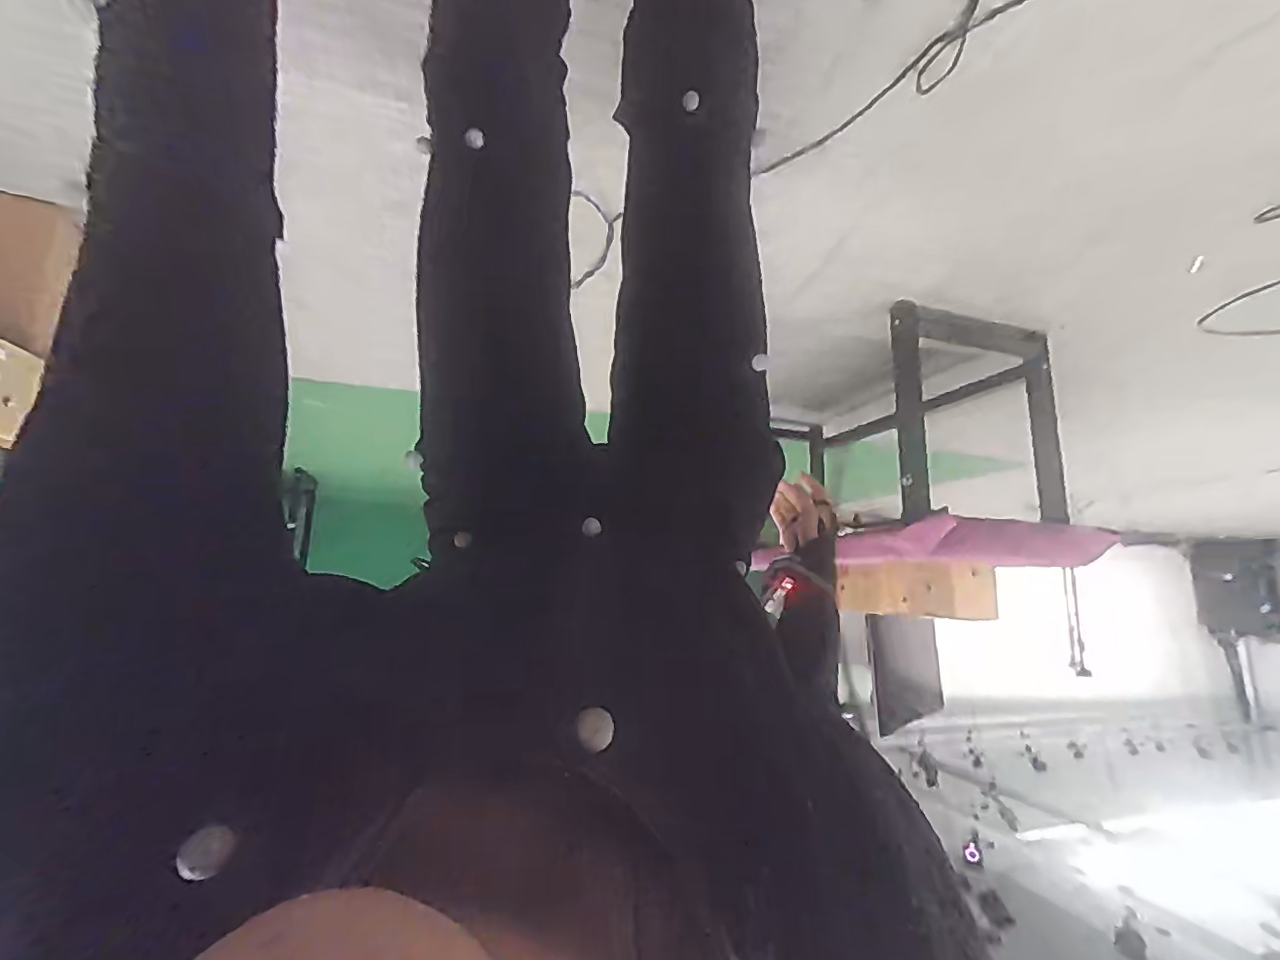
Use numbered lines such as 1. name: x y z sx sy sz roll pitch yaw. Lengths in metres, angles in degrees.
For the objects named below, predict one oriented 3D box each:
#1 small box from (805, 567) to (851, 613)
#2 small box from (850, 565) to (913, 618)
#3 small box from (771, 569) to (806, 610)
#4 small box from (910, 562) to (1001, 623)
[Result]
1. small box: 0.757 0.428 2.103 0.168 0.176 0.179 7 168 -21
2. small box: 0.848 0.383 1.864 0.179 0.176 0.168 5 168 -13
3. small box: 0.667 0.474 2.341 0.168 0.176 0.179 0 169 3
4. small box: 0.933 0.334 1.614 0.179 0.176 0.168 6 168 -19
